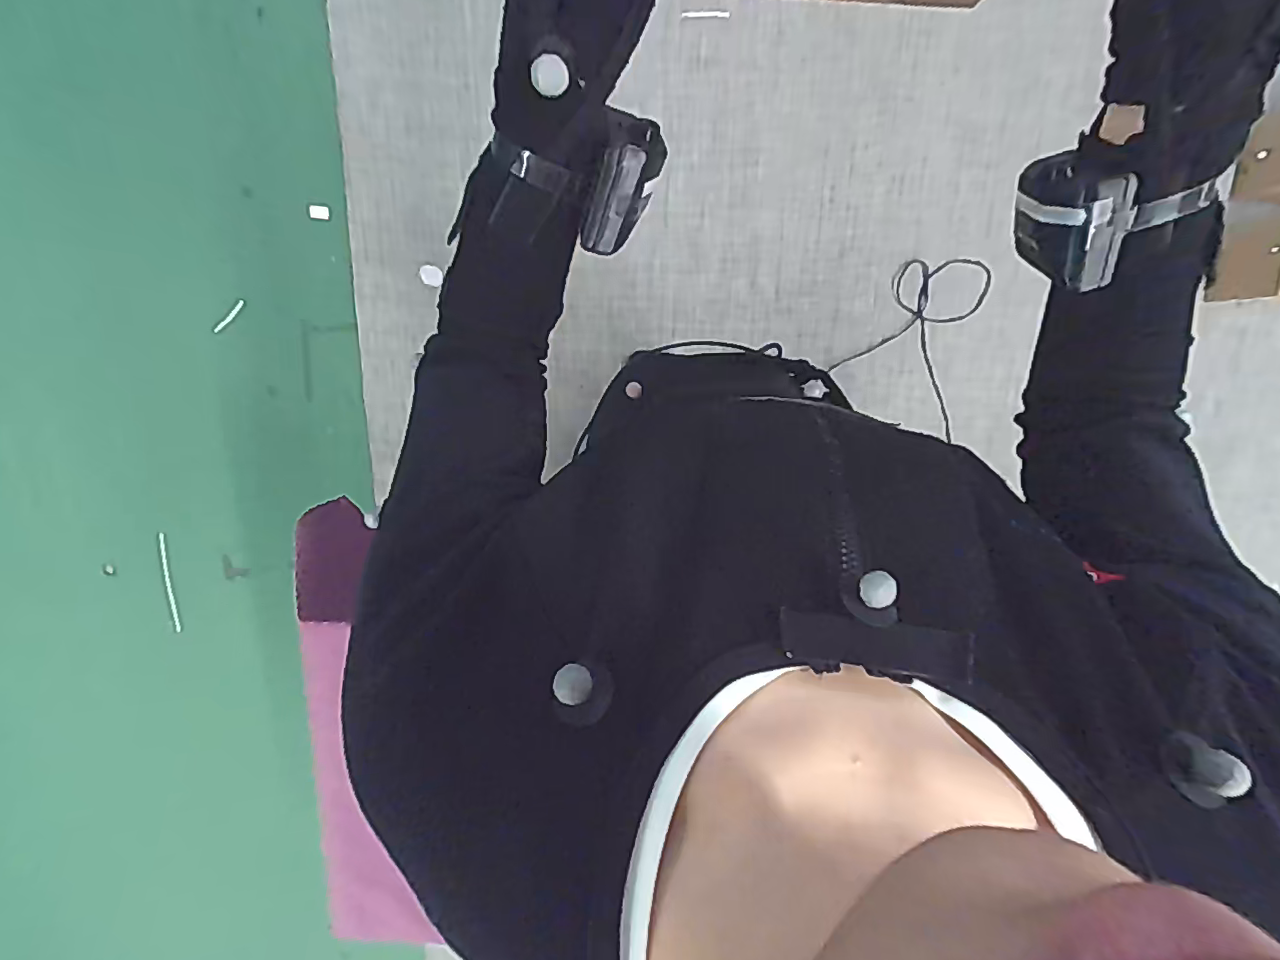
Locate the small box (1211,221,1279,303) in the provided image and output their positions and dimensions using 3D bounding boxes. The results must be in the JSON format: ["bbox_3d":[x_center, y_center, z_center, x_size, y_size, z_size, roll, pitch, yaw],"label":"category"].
[{"bbox_3d":[1.480,-0.497,1.225,0.179,0.176,0.168,-1,103,2],"label":"small box"}]

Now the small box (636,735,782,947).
[{"bbox_3d":[0.088,0.499,0.765,0.168,0.176,0.179,7,103,0],"label":"small box"}]

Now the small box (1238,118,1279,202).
[{"bbox_3d":[1.492,-0.717,1.174,0.179,0.176,0.168,2,102,2],"label":"small box"}]
